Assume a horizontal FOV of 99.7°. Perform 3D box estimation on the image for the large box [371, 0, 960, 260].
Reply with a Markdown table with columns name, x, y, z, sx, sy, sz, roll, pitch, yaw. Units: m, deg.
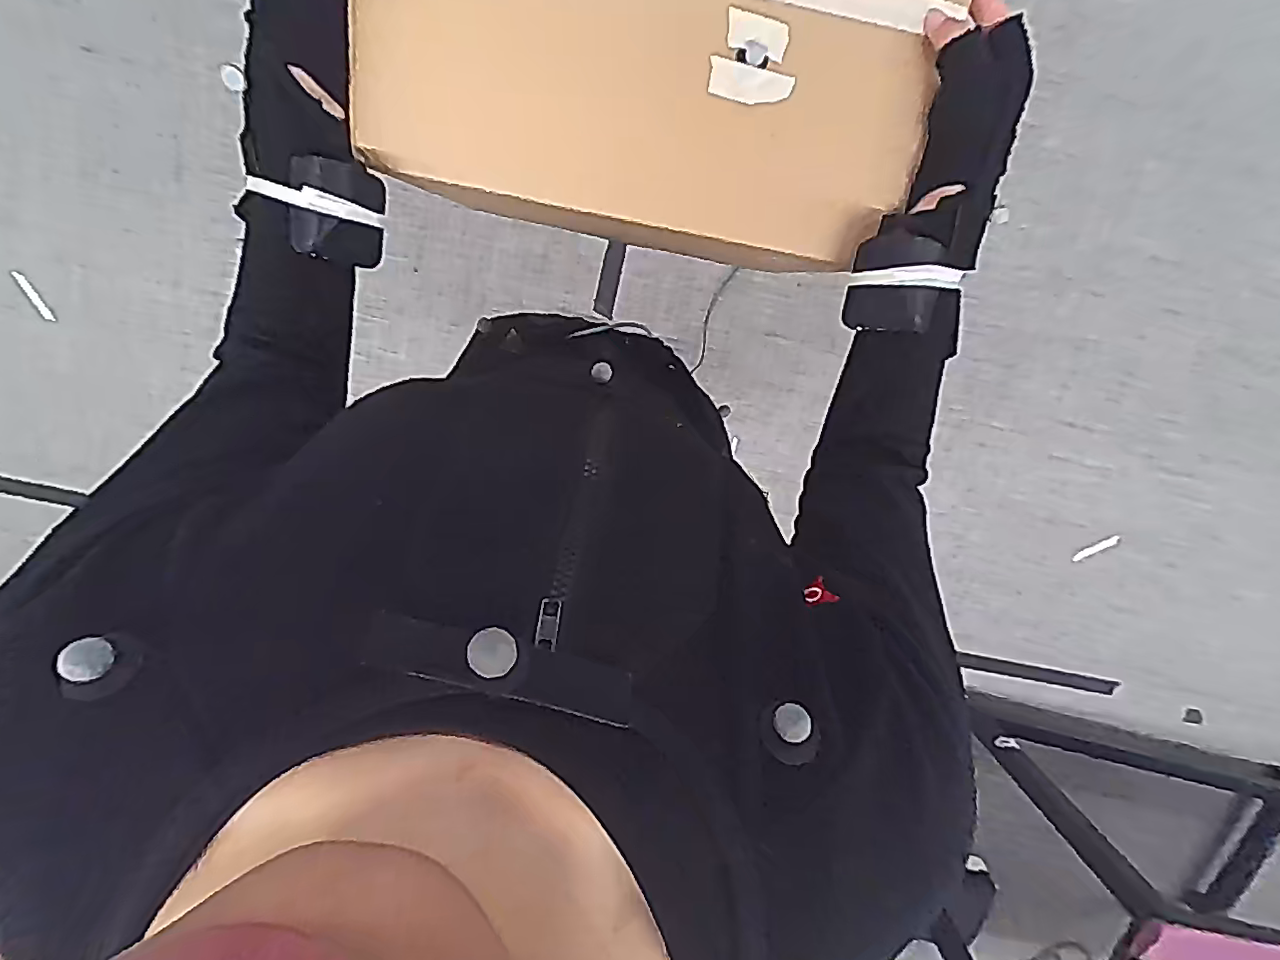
| name | x | y | z | sx | sy | sz | roll | pitch | yaw |
| --- | --- | --- | --- | --- | --- | --- | --- | --- | --- |
| large box | 0.017 | -0.402 | 0.499 | 0.408 | 0.320 | 0.320 | 9 | 112 | -6 |
